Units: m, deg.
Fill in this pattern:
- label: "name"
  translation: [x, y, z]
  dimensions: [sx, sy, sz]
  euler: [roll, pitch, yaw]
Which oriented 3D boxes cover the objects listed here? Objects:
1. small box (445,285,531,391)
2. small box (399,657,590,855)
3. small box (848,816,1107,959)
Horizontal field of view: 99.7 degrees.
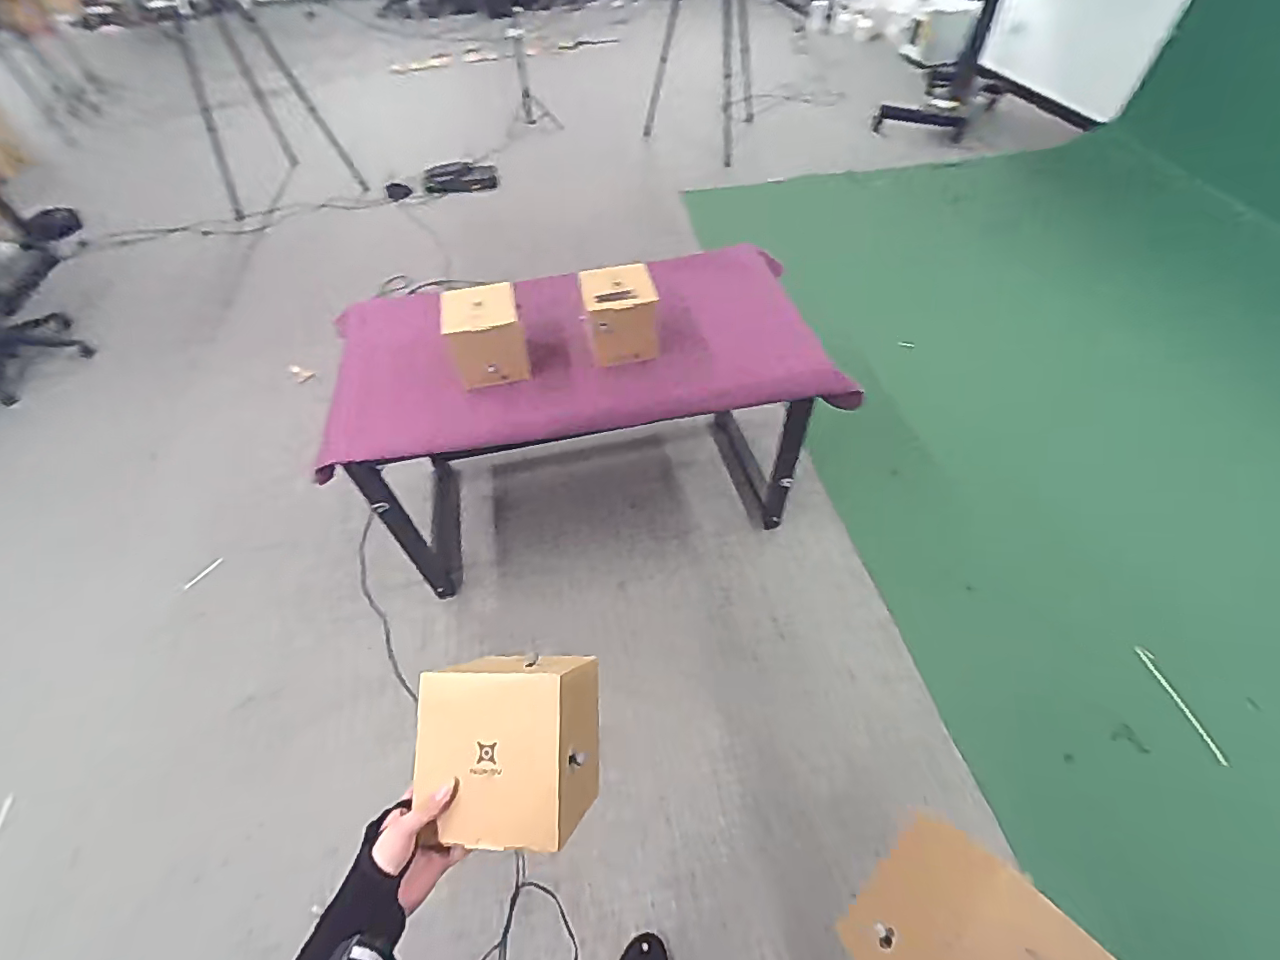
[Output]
- label: "small box"
  translation: [-0.364, -0.342, 1.308]
  dimensions: [0.168, 0.176, 0.179]
  euler: [-11, 52, -6]
- label: "small box"
  translation: [-0.158, 0.307, 0.642]
  dimensions: [0.168, 0.176, 0.179]
  euler: [-3, 78, 8]
- label: "small box"
  translation: [0.329, 0.477, 0.524]
  dimensions: [0.168, 0.176, 0.179]
  euler: [41, 80, 13]
